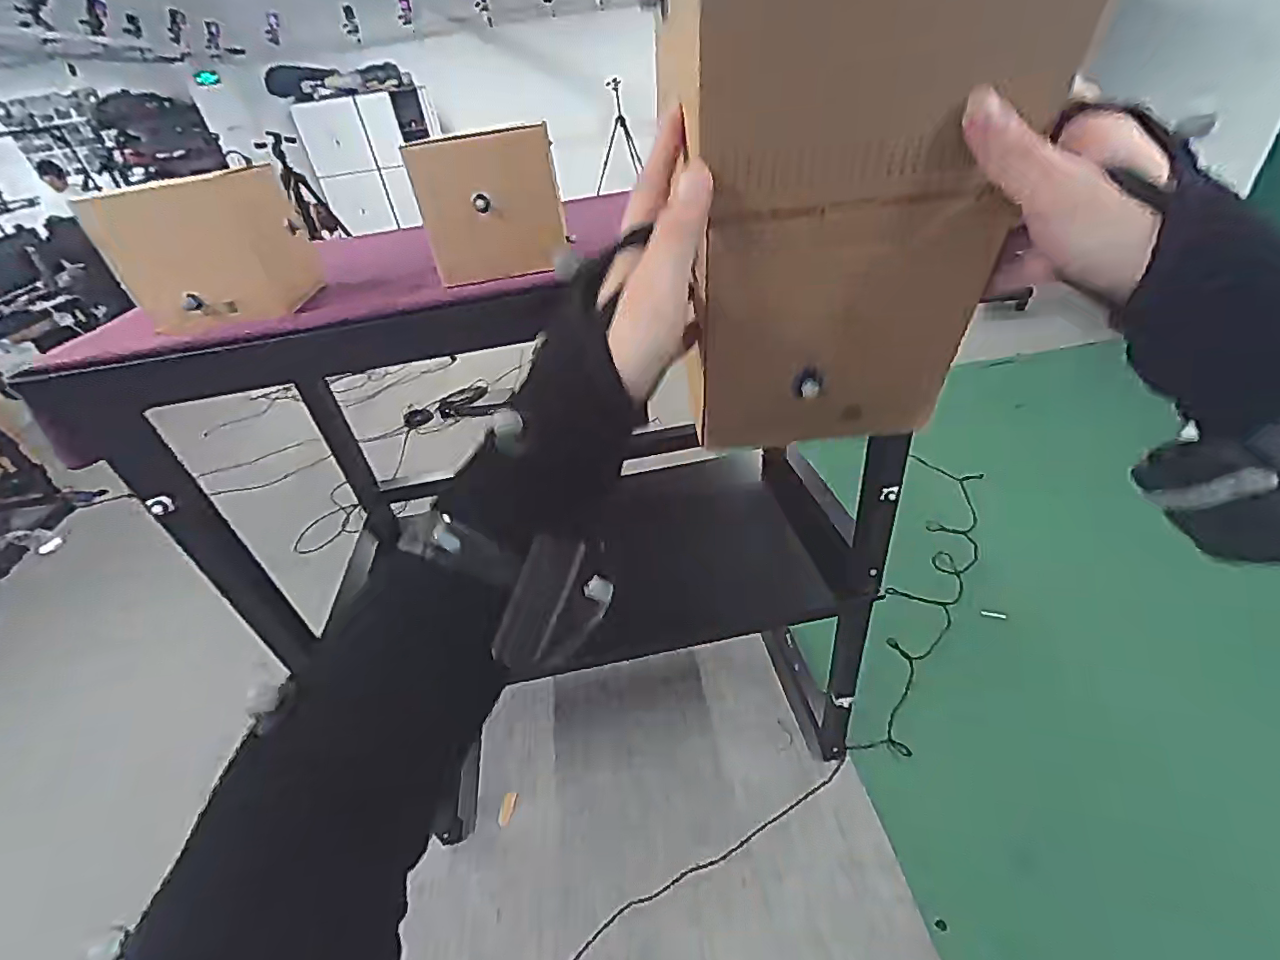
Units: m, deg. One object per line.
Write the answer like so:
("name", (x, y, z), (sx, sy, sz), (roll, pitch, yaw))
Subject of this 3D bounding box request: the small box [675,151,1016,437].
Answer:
("small box", (0.114, -0.154, 0.396), (0.168, 0.176, 0.179), (-6, 47, 0))

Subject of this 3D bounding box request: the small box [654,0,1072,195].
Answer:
("small box", (0.097, -0.260, 0.271), (0.179, 0.176, 0.168), (-6, 48, 0))

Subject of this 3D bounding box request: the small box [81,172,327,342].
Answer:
("small box", (-0.556, -0.302, 0.727), (0.168, 0.176, 0.179), (-12, 36, -3))

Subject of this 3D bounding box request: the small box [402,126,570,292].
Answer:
("small box", (-0.196, -0.378, 0.754), (0.179, 0.176, 0.168), (-11, 35, -1))
